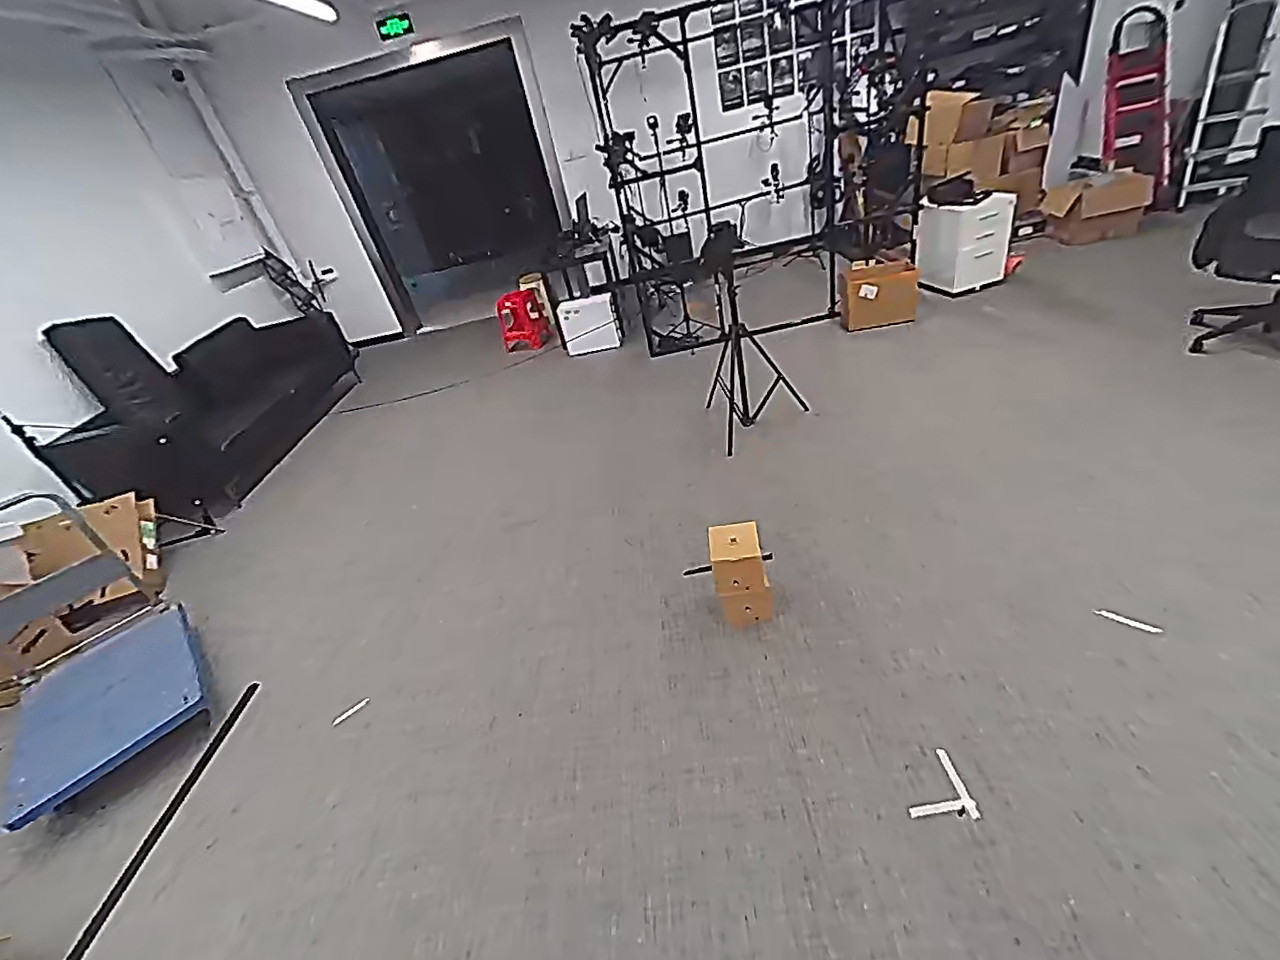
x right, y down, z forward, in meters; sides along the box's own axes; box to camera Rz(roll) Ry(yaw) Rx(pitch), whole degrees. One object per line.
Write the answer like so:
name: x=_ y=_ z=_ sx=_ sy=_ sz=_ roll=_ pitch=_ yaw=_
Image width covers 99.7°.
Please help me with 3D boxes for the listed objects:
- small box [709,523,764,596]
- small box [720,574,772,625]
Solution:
small box: x=0.332 y=0.276 z=1.867 sx=0.168 sy=0.176 sz=0.179 roll=-9 pitch=34 yaw=10
small box: x=0.373 y=0.405 z=1.959 sx=0.168 sy=0.176 sz=0.179 roll=-12 pitch=32 yaw=4
